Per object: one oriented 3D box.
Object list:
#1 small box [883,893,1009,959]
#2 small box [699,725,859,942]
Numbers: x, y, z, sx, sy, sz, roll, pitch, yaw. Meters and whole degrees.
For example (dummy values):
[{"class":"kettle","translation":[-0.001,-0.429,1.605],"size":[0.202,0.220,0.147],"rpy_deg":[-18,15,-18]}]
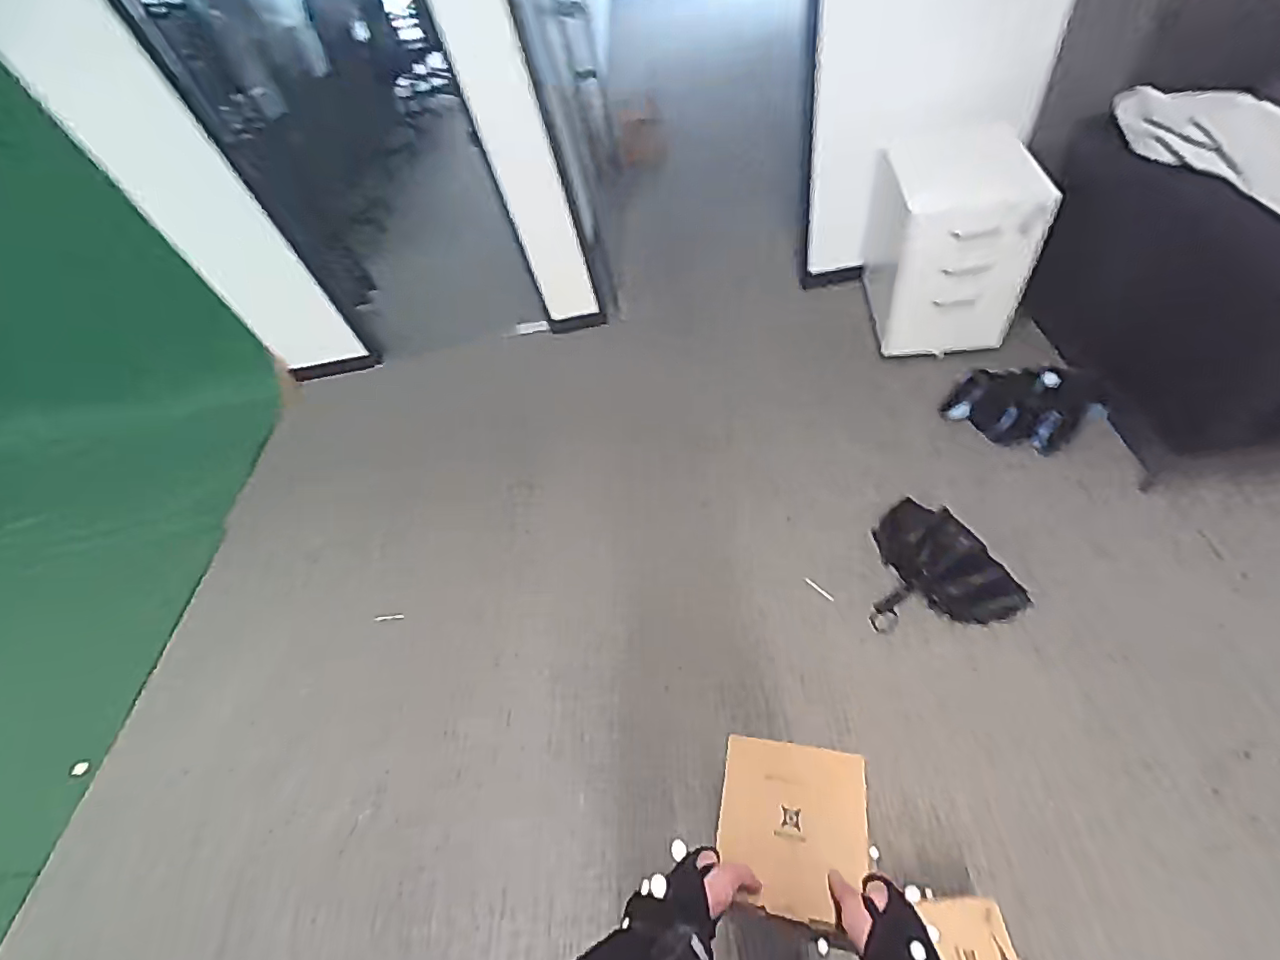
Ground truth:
[{"class":"small box","translation":[0.579,0.895,1.029],"size":[0.179,0.176,0.168],"rpy_deg":[-8,51,7]},{"class":"small box","translation":[0.176,0.433,0.666],"size":[0.168,0.176,0.179],"rpy_deg":[1,45,17]}]
